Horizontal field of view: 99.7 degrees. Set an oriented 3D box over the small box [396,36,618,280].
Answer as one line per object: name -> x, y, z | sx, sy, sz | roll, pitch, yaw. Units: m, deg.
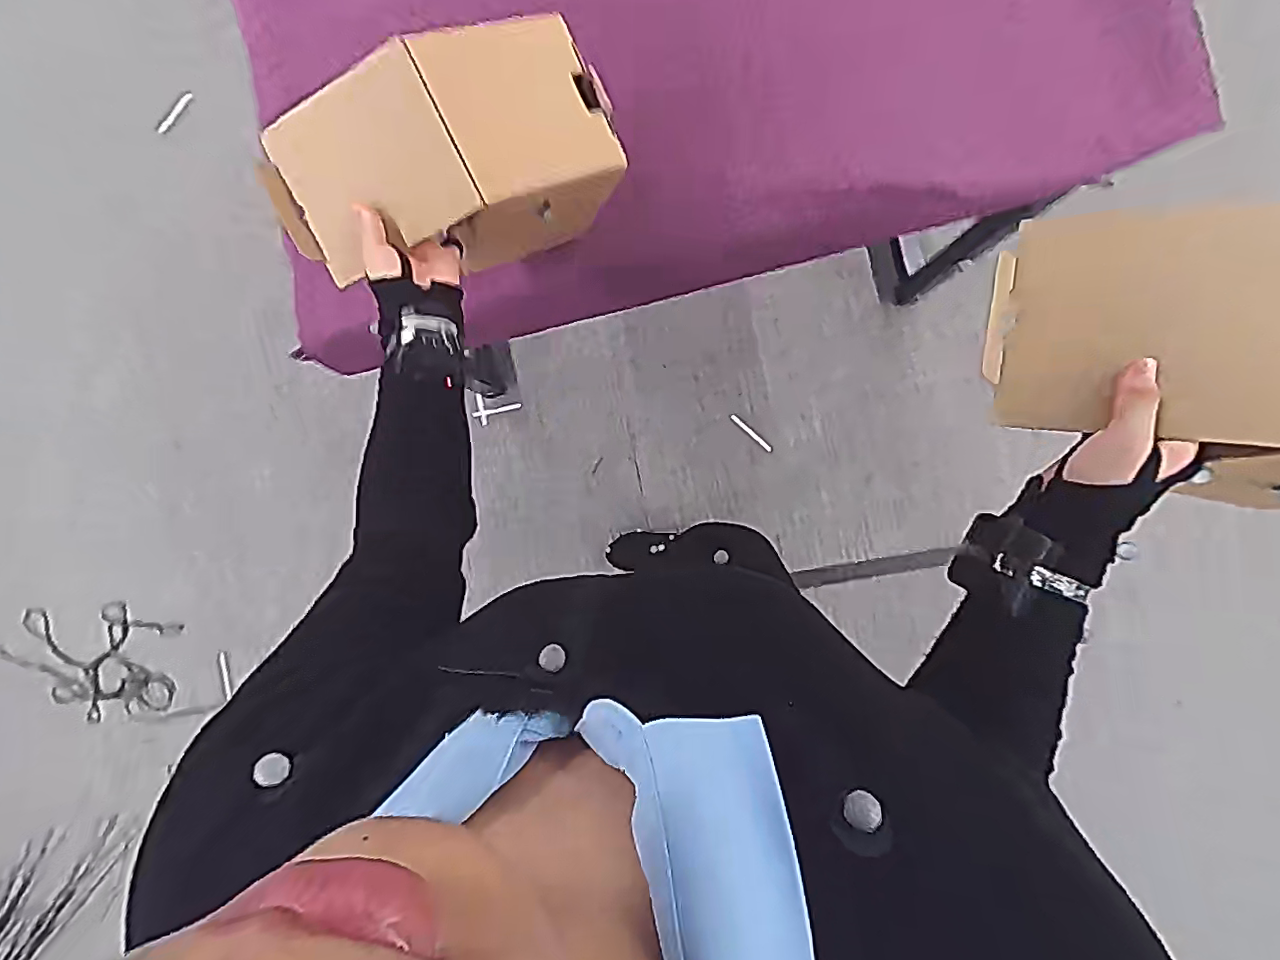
small box -> -0.158, -0.356, 0.623 | 0.179, 0.176, 0.168 | -29, 99, -24
